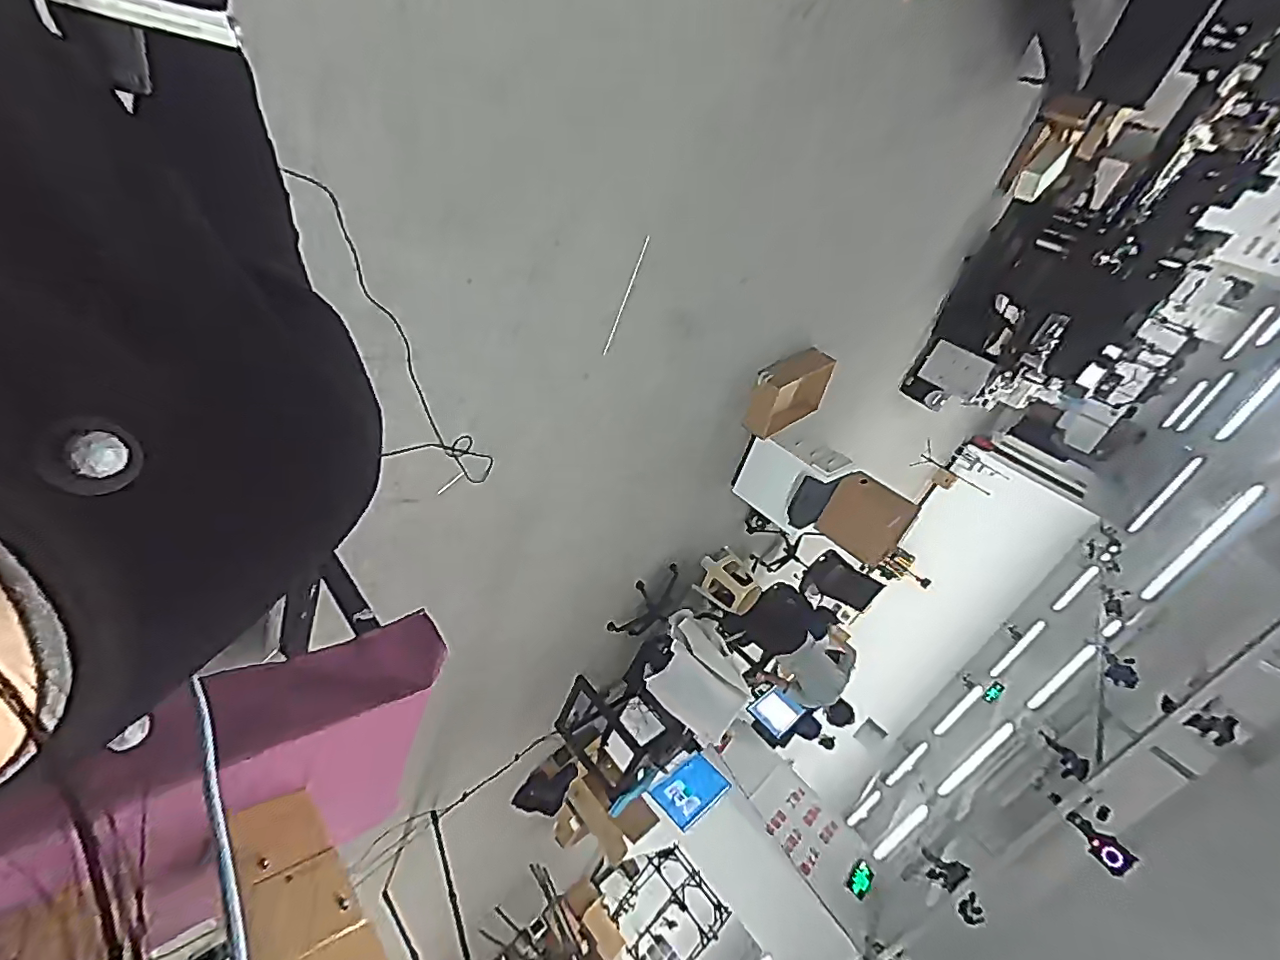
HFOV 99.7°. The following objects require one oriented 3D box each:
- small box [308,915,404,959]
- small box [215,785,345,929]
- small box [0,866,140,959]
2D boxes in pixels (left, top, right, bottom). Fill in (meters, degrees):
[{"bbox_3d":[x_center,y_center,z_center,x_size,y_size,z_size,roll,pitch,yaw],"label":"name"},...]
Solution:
[{"bbox_3d":[-0.584,1.018,1.056,0.168,0.176,0.179,-55,150,9],"label":"small box"},{"bbox_3d":[-0.804,0.824,1.206,0.179,0.176,0.168,8,117,-55],"label":"small box"},{"bbox_3d":[-1.012,0.839,0.946,0.179,0.176,0.168,-5,129,-51],"label":"small box"}]
